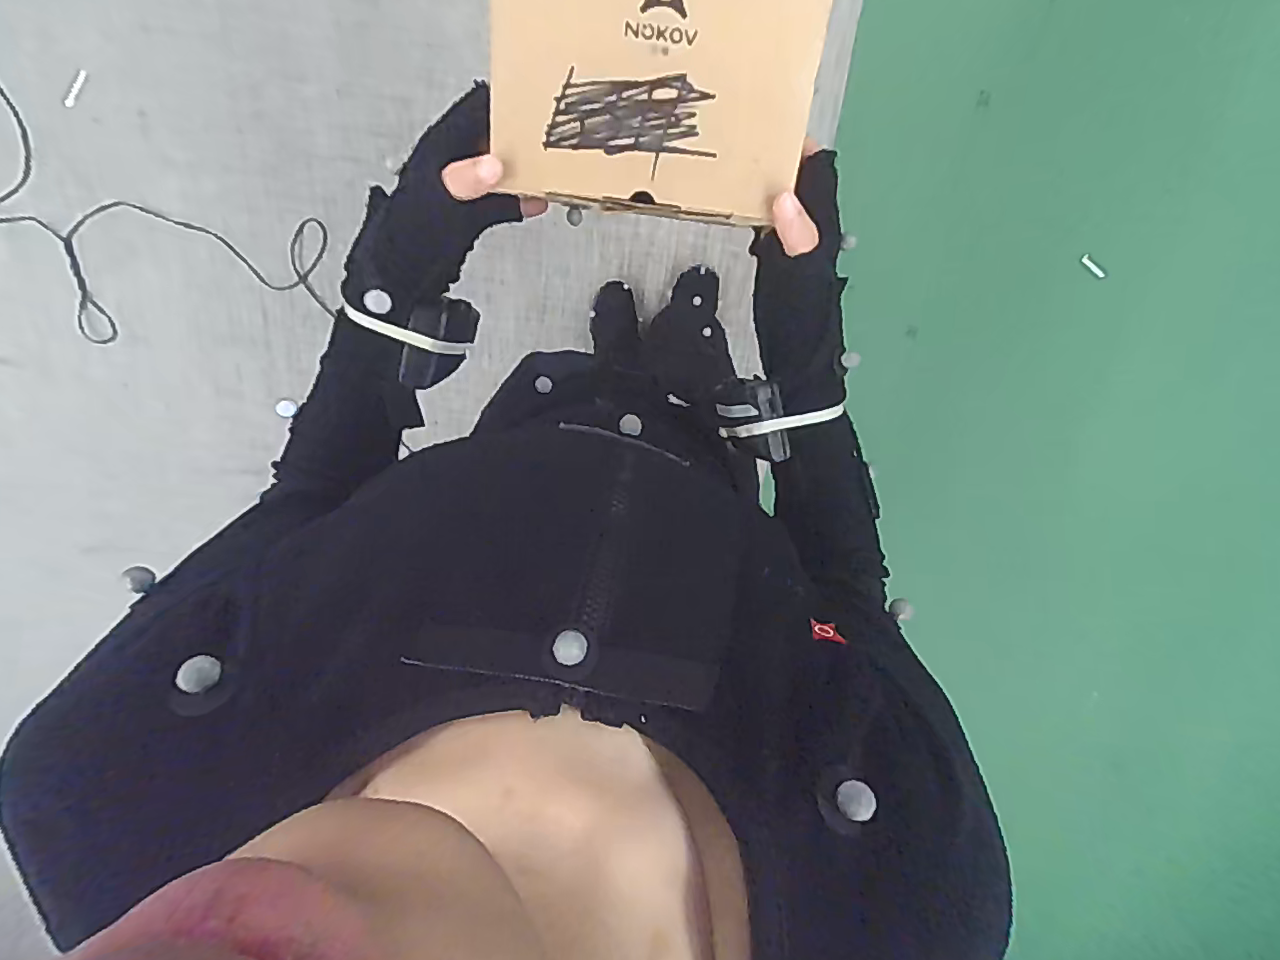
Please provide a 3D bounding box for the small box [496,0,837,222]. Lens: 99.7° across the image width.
[{"bbox_3d":[0.014,-0.264,0.334,0.168,0.176,0.179,6,114,-4],"label":"small box"}]
